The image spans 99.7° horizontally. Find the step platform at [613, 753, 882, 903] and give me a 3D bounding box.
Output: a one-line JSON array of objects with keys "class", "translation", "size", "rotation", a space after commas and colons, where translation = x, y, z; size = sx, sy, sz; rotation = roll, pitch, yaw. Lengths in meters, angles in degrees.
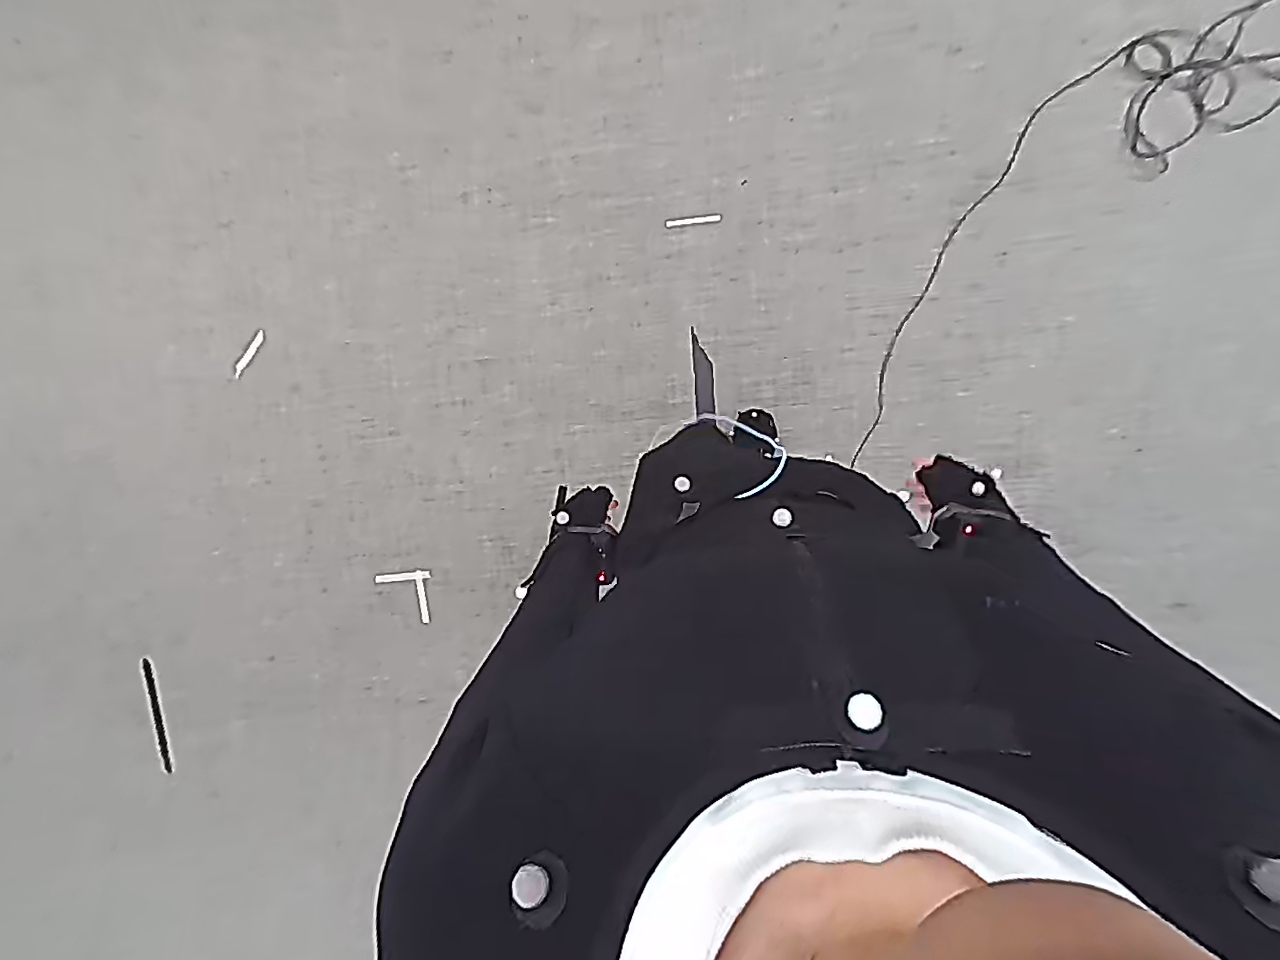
[{"class": "step platform", "translation": [0.270, 0.919, 1.438], "size": [0.684, 0.204, 0.286], "rotation": [-5, 95, 9]}]
